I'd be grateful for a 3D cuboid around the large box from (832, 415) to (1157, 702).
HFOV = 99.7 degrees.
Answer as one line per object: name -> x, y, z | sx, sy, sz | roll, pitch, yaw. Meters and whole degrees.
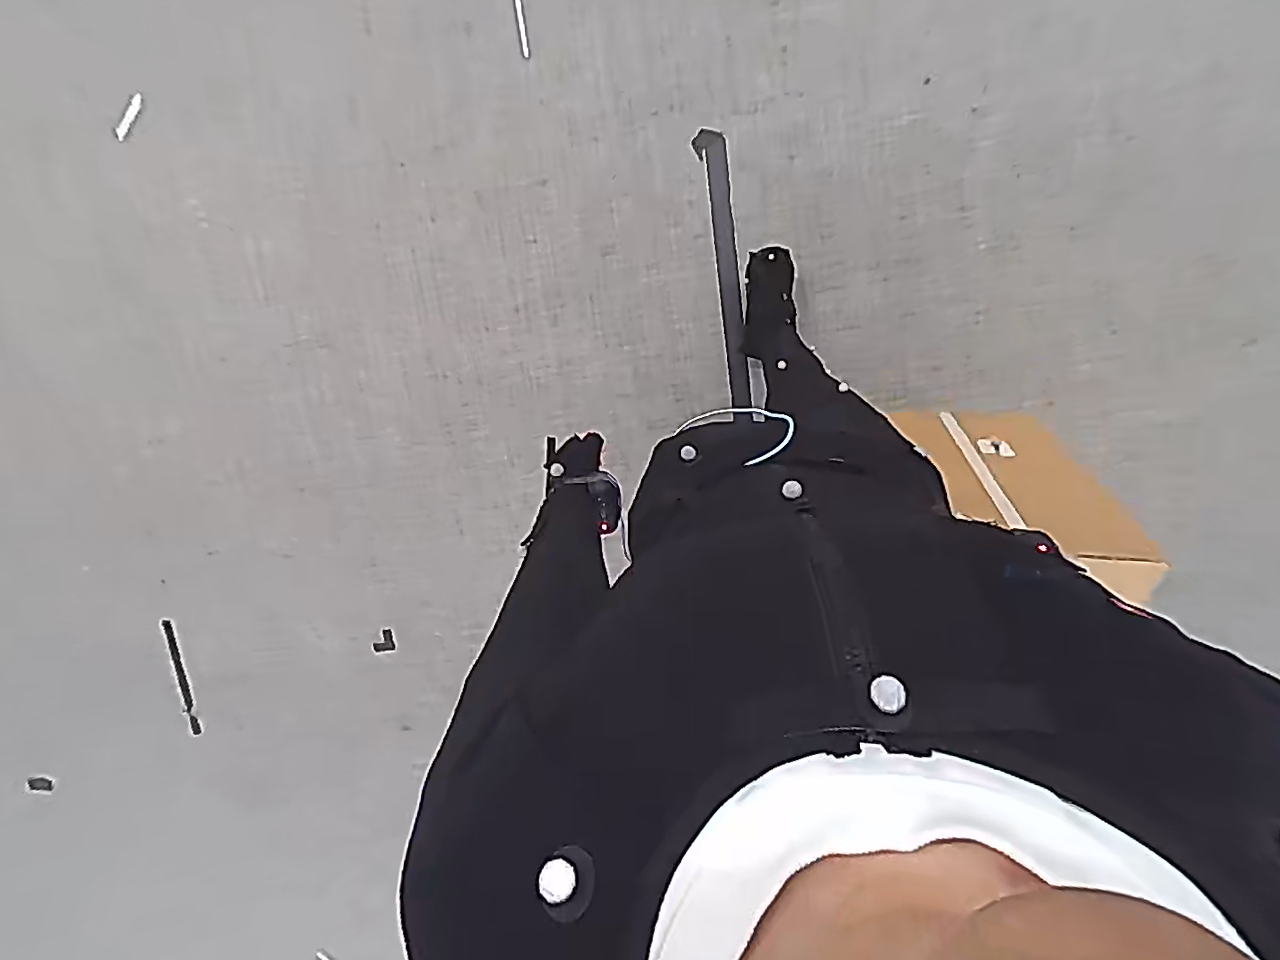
large box -> 0.535, 0.113, 0.937 | 0.320, 0.408, 0.320 | 3, 121, 9
